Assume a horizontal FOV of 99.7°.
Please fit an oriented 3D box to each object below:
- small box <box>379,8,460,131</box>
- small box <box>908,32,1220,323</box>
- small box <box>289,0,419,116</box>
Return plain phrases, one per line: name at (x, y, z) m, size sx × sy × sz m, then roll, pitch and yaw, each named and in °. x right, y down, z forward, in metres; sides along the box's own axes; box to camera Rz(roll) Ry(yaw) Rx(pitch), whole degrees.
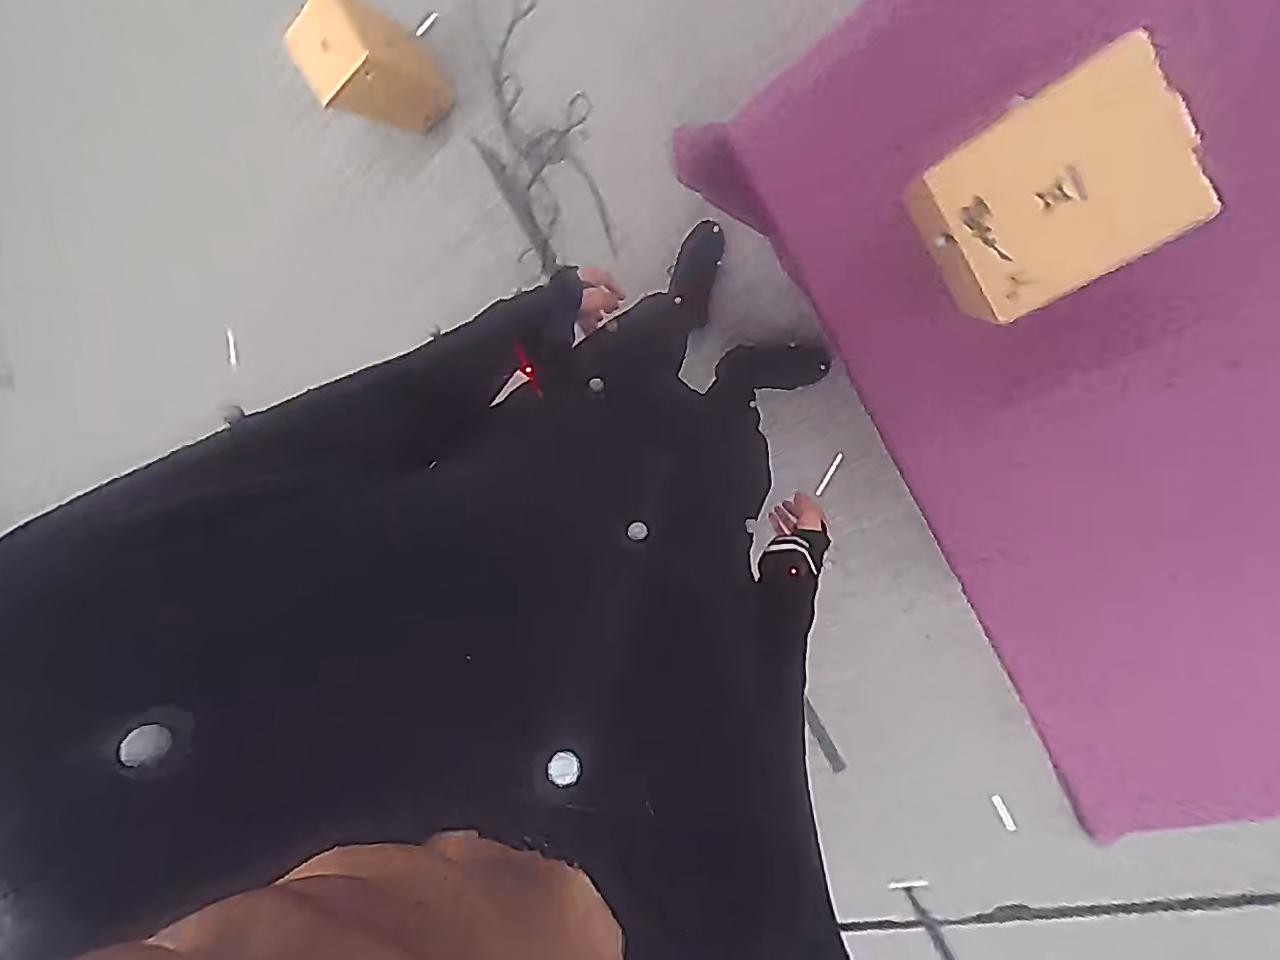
small box at (-0.615, -1.059, 1.415) m, size 0.168 × 0.176 × 0.179 m, roll -25°, pitch 101°, yaw 27°
small box at (0.403, -0.285, 0.551) m, size 0.179 × 0.176 × 0.168 m, roll -29°, pitch 99°, yaw 26°
small box at (-0.665, -1.001, 1.272) m, size 0.179 × 0.176 × 0.168 m, roll -24°, pitch 101°, yaw 26°
